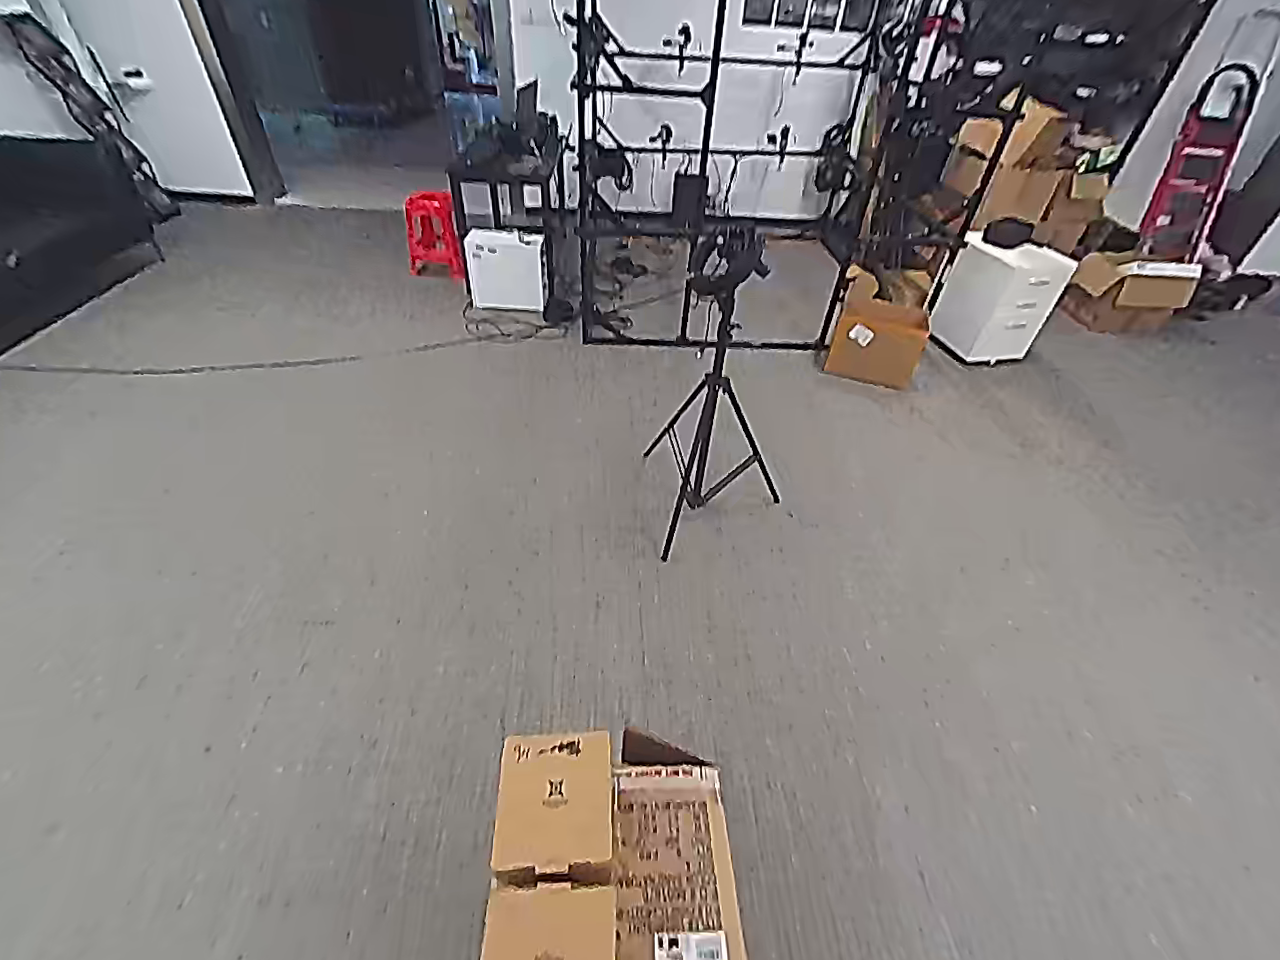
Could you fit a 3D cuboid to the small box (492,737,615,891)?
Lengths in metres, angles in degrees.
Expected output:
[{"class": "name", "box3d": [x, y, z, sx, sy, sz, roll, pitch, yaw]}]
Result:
[{"class": "small box", "box3d": [-0.124, 0.521, 0.838, 0.168, 0.176, 0.179, -1, 45, -4]}]

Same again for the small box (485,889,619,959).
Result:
[{"class": "small box", "box3d": [-0.111, 0.655, 0.700, 0.168, 0.176, 0.179, 0, 45, -2]}]
